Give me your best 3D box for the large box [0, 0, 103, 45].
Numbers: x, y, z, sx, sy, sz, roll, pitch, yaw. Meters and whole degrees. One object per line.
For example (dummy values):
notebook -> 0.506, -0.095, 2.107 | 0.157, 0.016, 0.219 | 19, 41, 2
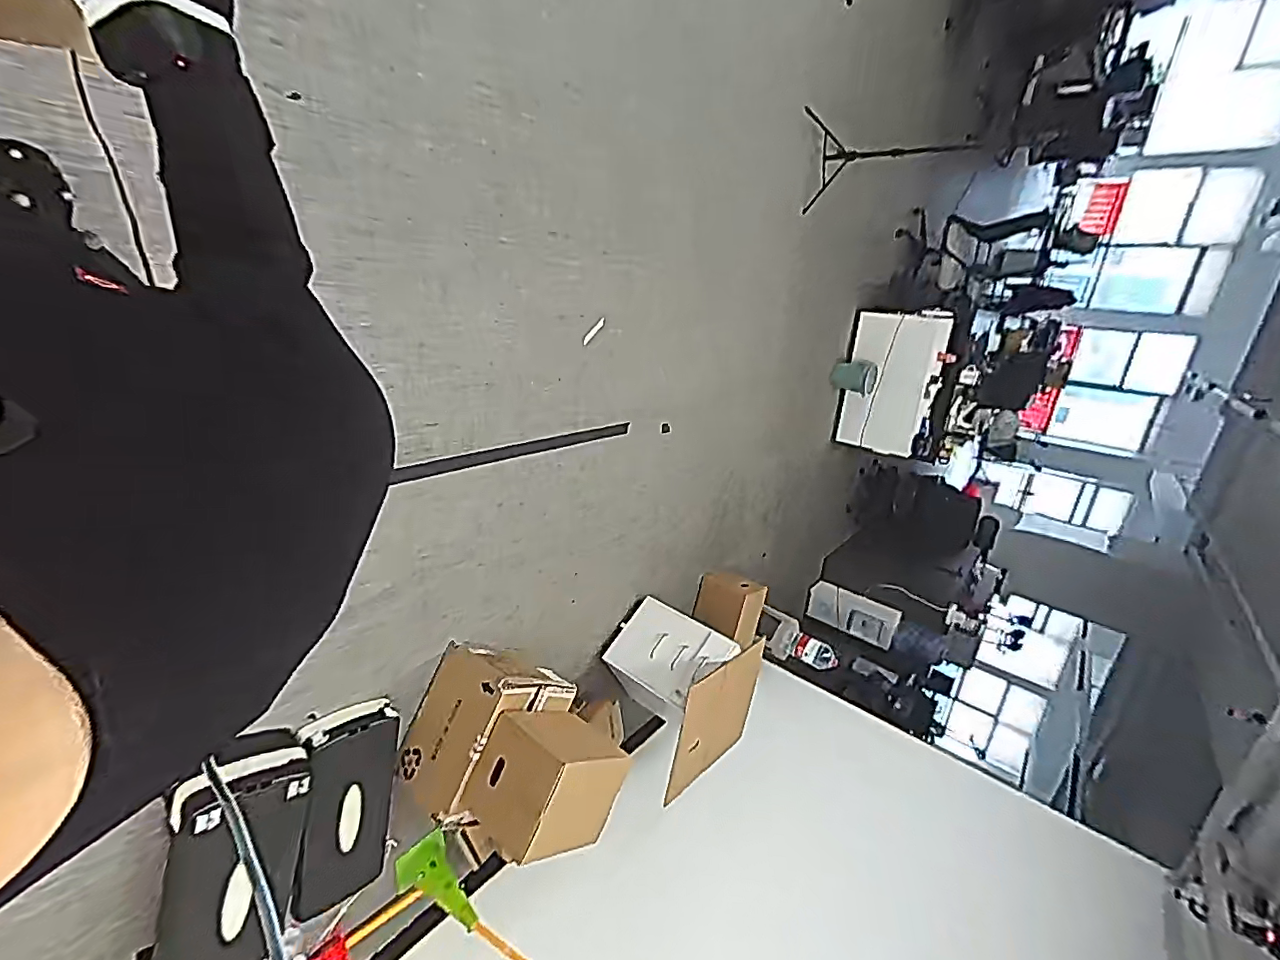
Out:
large box -> -0.577, -0.458, 0.250 | 0.408, 0.320, 0.320 | -25, 127, -43
